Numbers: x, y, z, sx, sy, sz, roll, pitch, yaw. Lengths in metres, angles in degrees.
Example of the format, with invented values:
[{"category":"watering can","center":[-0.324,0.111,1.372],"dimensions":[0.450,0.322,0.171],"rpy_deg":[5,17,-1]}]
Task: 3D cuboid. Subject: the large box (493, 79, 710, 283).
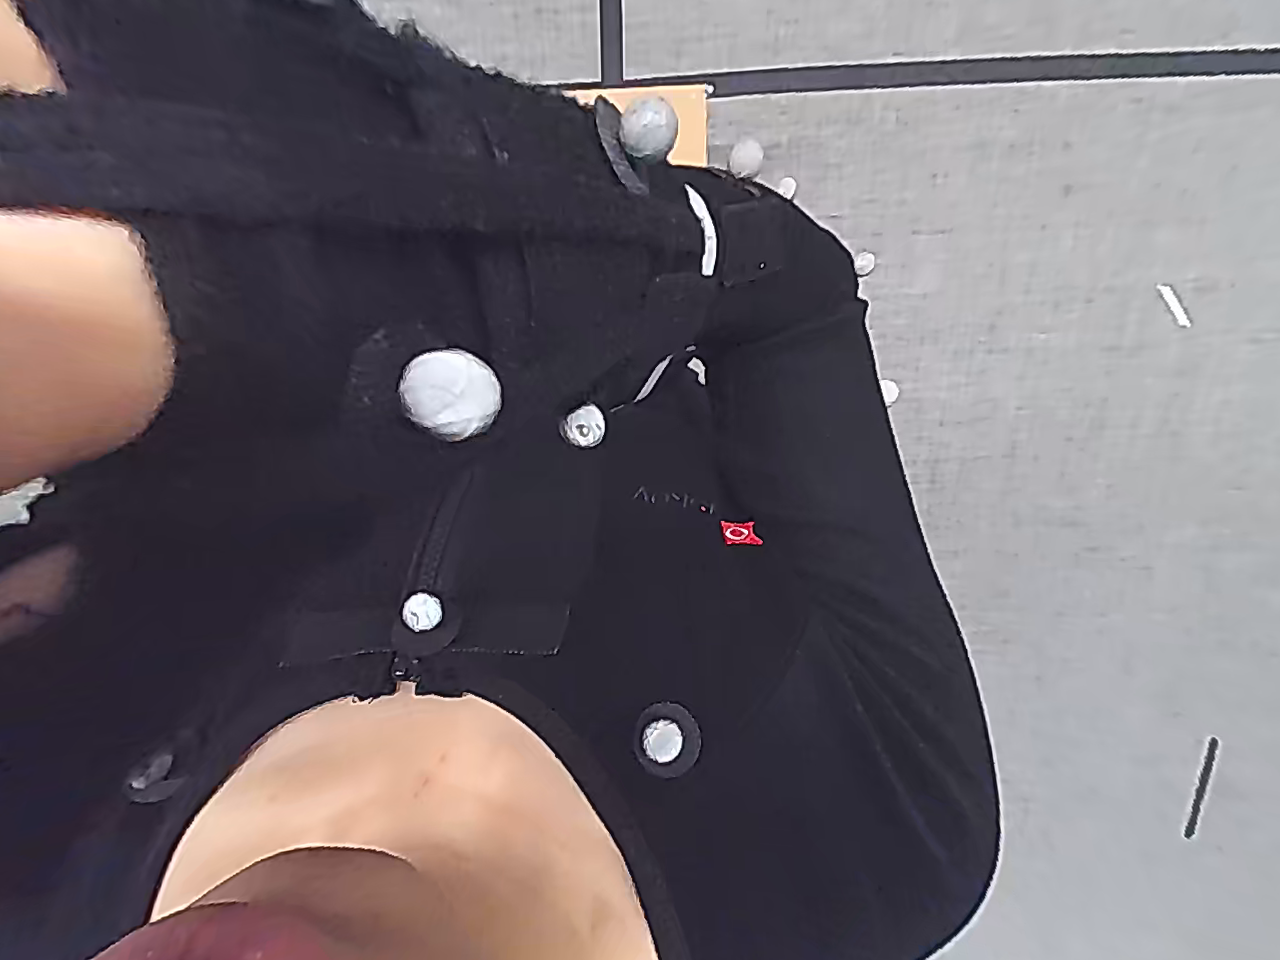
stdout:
[{"category":"large box","center":[-0.070,-0.615,1.174],"dimensions":[0.408,0.320,0.320],"rpy_deg":[-2,106,0]}]
